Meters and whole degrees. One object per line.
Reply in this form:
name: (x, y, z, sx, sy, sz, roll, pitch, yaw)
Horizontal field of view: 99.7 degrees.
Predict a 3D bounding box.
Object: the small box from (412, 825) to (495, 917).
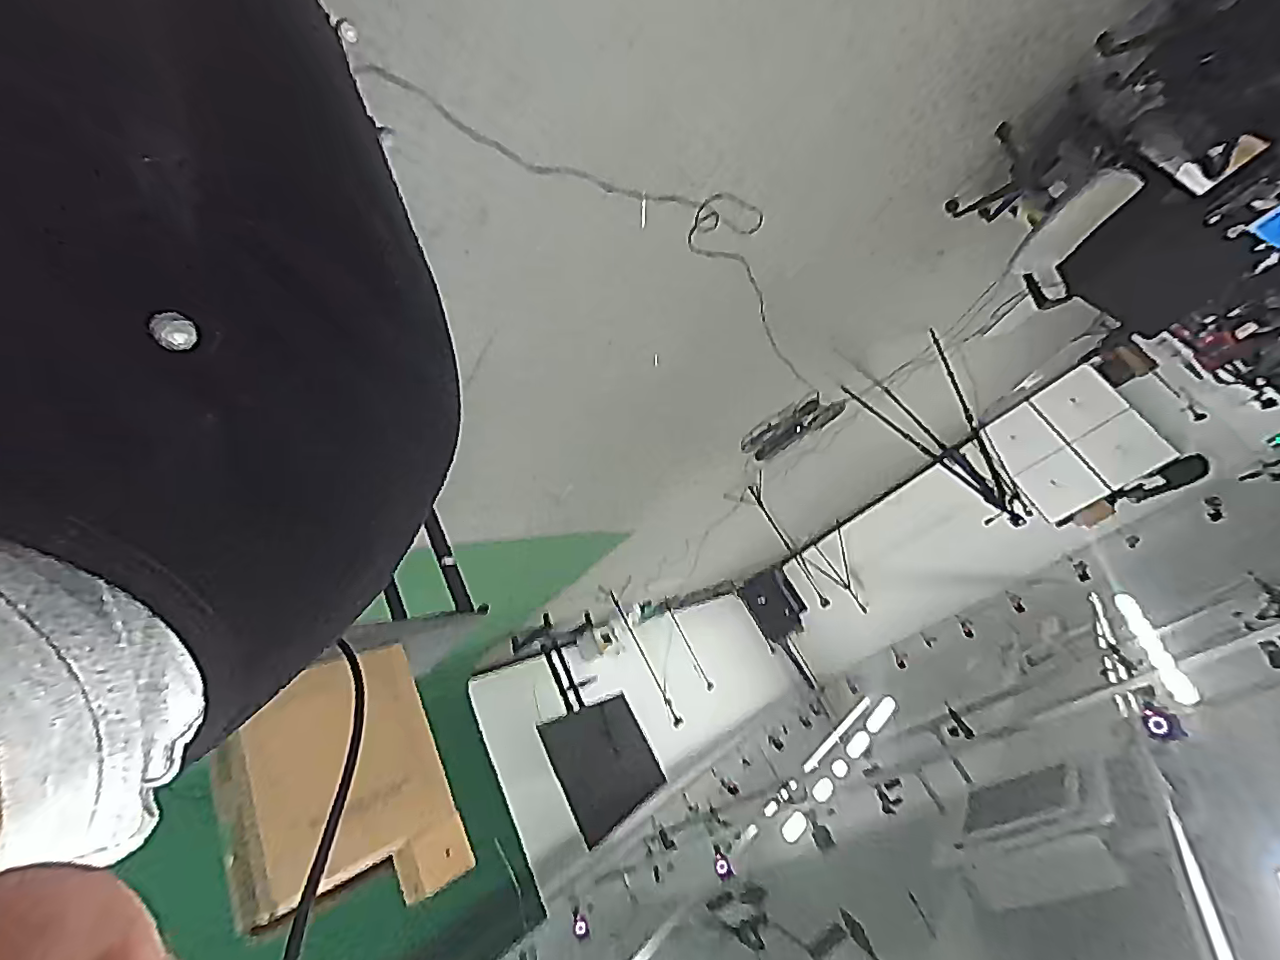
small box: (-0.618, 1.279, 1.781, 0.179, 0.176, 0.168, -5, 145, -50)
